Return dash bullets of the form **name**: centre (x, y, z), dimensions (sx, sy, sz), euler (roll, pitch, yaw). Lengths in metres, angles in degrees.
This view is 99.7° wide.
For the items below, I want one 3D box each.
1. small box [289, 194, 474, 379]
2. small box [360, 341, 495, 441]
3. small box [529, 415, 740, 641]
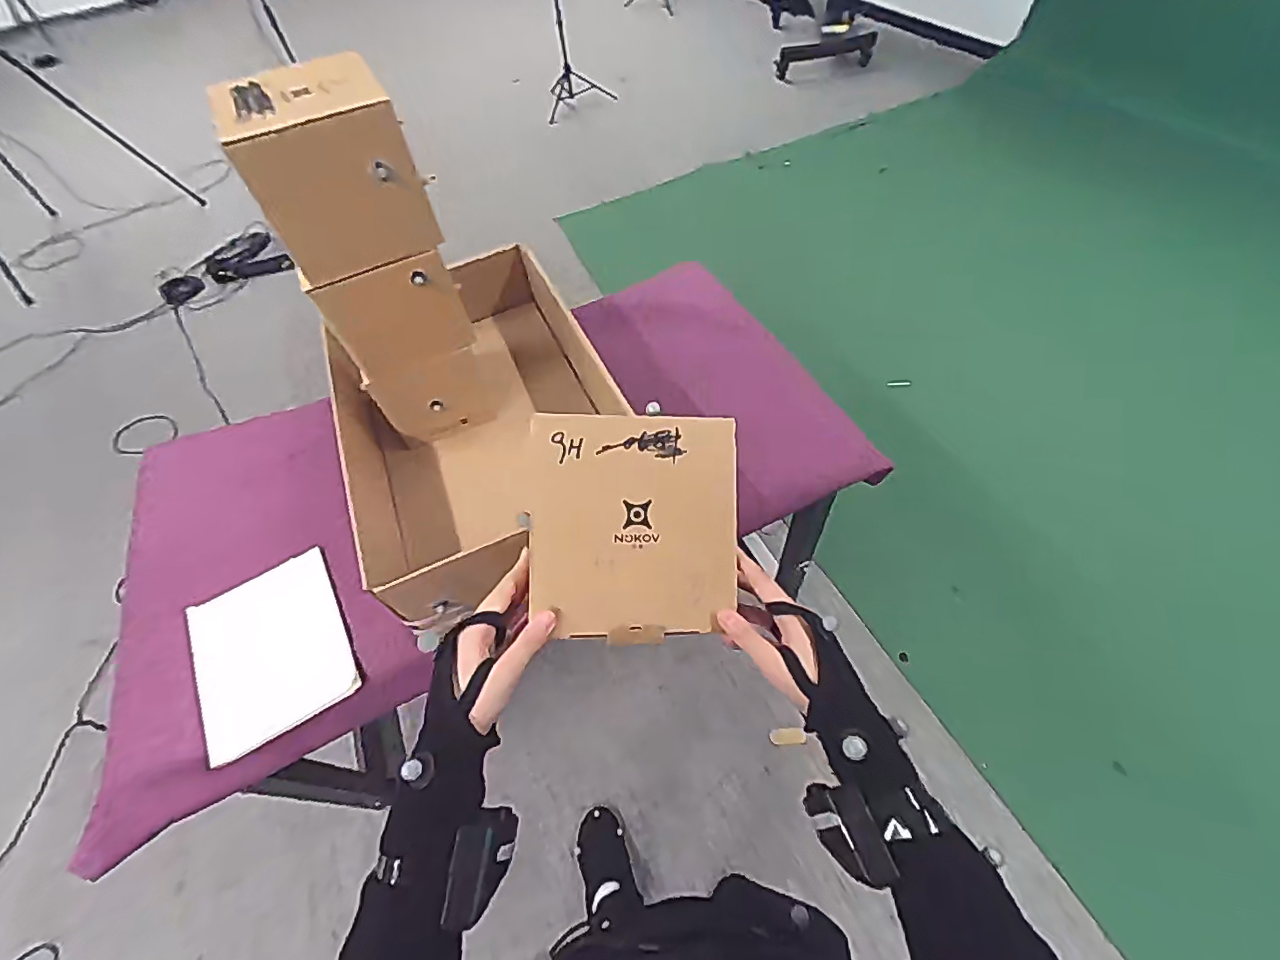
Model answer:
- **small box**: centre (-0.372, -0.278, 0.795), dimensions (0.179, 0.176, 0.168), euler (-25, 58, -12)
- **small box**: centre (-0.367, -0.189, 0.930), dimensions (0.168, 0.176, 0.179), euler (-23, 58, -10)
- **small box**: centre (-0.013, 0.039, 0.503), dimensions (0.168, 0.176, 0.179), euler (1, 88, -9)
